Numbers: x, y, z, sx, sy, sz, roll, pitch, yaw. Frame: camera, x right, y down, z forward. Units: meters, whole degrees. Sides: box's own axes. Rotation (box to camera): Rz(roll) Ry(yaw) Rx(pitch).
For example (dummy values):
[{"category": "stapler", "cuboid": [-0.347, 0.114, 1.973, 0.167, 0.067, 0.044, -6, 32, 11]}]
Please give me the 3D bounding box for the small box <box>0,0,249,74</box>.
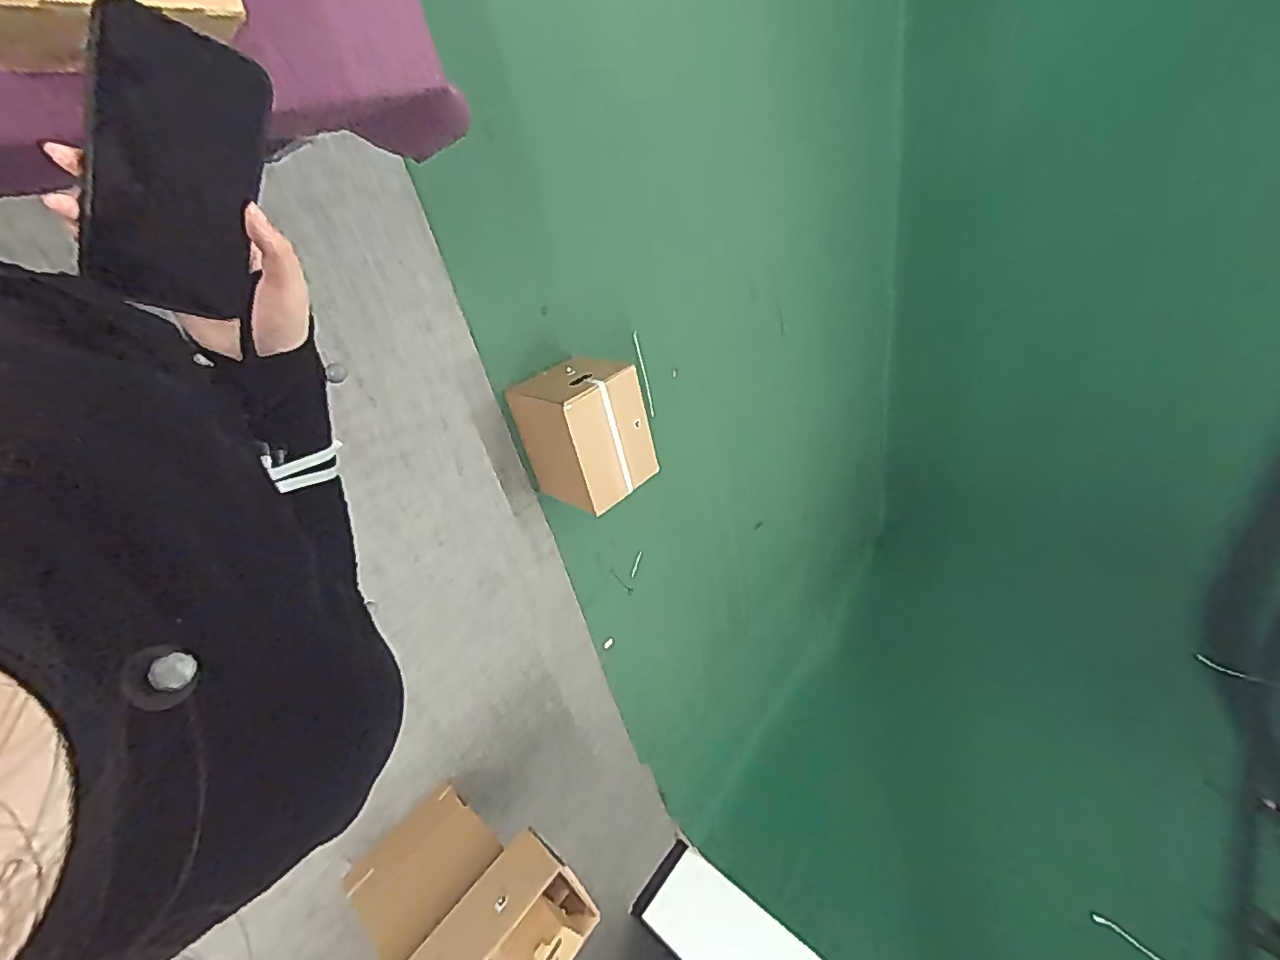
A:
[{"category": "small box", "cuboid": [-0.457, -0.448, 0.424, 0.168, 0.176, 0.179, -33, 126, -35]}]
